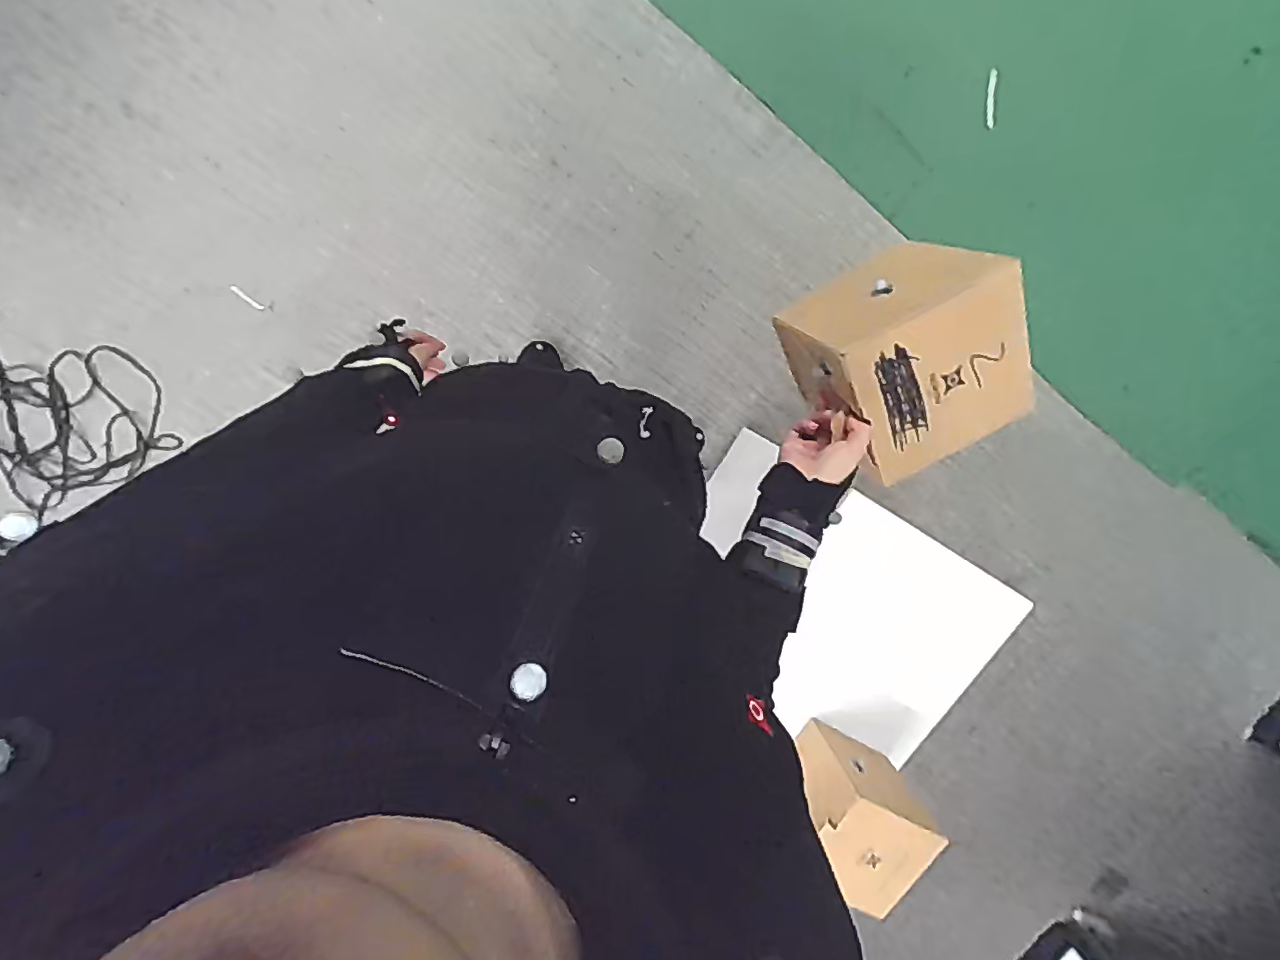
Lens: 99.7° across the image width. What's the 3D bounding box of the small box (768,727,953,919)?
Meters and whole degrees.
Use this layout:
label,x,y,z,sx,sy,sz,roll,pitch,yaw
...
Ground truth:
label,x,y,z,sx,sy,sz,roll,pitch,yaw
small box,0.331,0.527,0.852,0.179,0.176,0.168,30,100,-13
